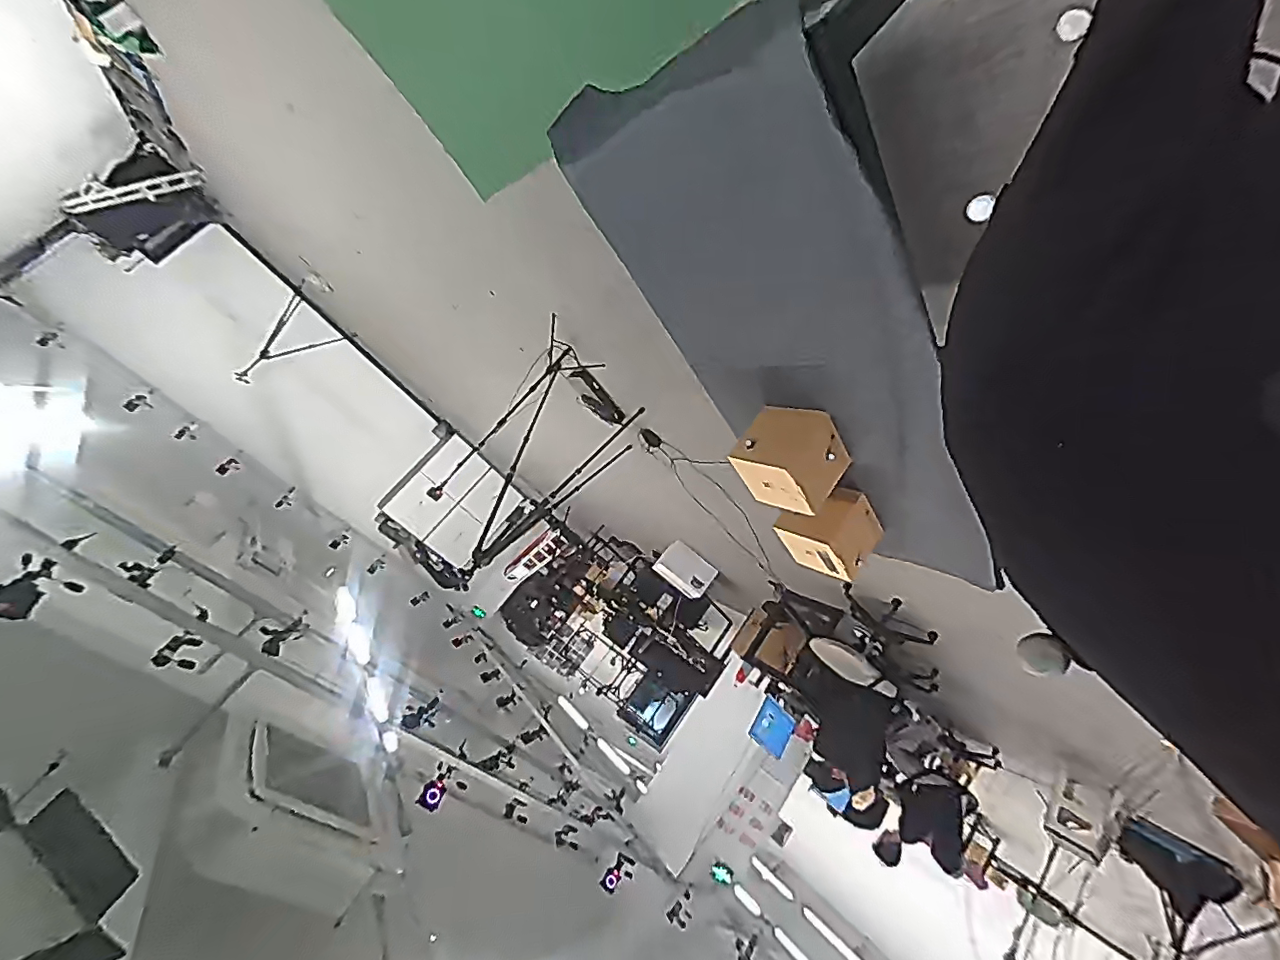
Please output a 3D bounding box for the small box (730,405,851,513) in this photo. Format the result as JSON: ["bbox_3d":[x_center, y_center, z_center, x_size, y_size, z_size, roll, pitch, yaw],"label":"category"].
[{"bbox_3d":[0.348,-0.055,1.240,0.179,0.176,0.168,16,153,51],"label":"small box"}]
